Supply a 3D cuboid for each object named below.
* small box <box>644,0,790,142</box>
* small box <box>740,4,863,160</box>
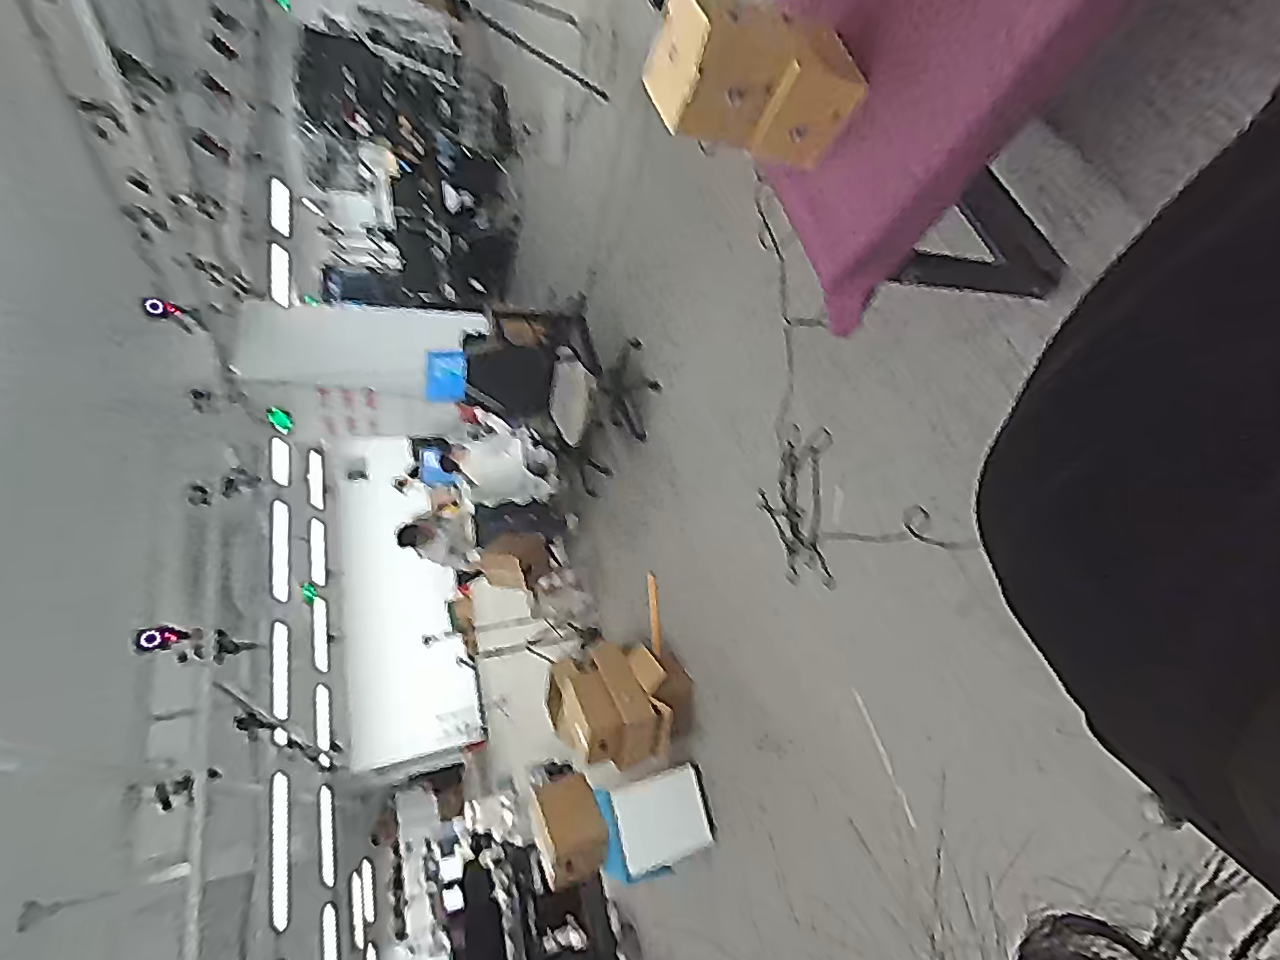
[{"bbox_3d":[0.132,-0.729,0.951,0.168,0.176,0.179,-56,46,52],"label":"small box"},{"bbox_3d":[0.283,-0.735,1.018,0.168,0.176,0.179,130,130,-56],"label":"small box"}]
